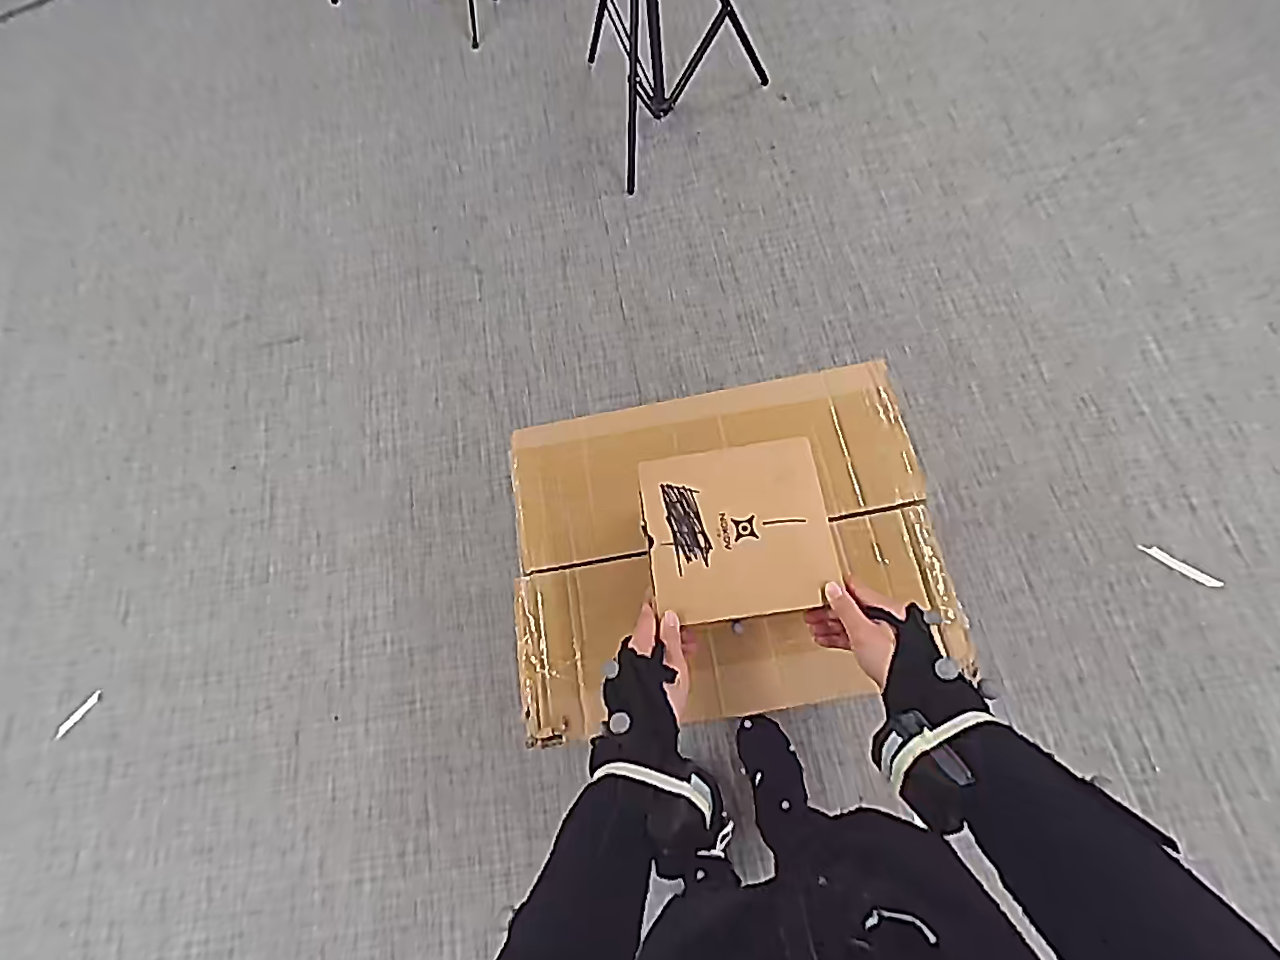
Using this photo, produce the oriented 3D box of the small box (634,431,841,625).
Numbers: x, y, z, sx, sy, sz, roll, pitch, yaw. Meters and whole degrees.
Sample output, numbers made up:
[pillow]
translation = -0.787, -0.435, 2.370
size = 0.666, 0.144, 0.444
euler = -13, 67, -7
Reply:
[small box]
translation = 0.098, 0.064, 0.593
size = 0.179, 0.176, 0.168
euler = -9, 73, 3
